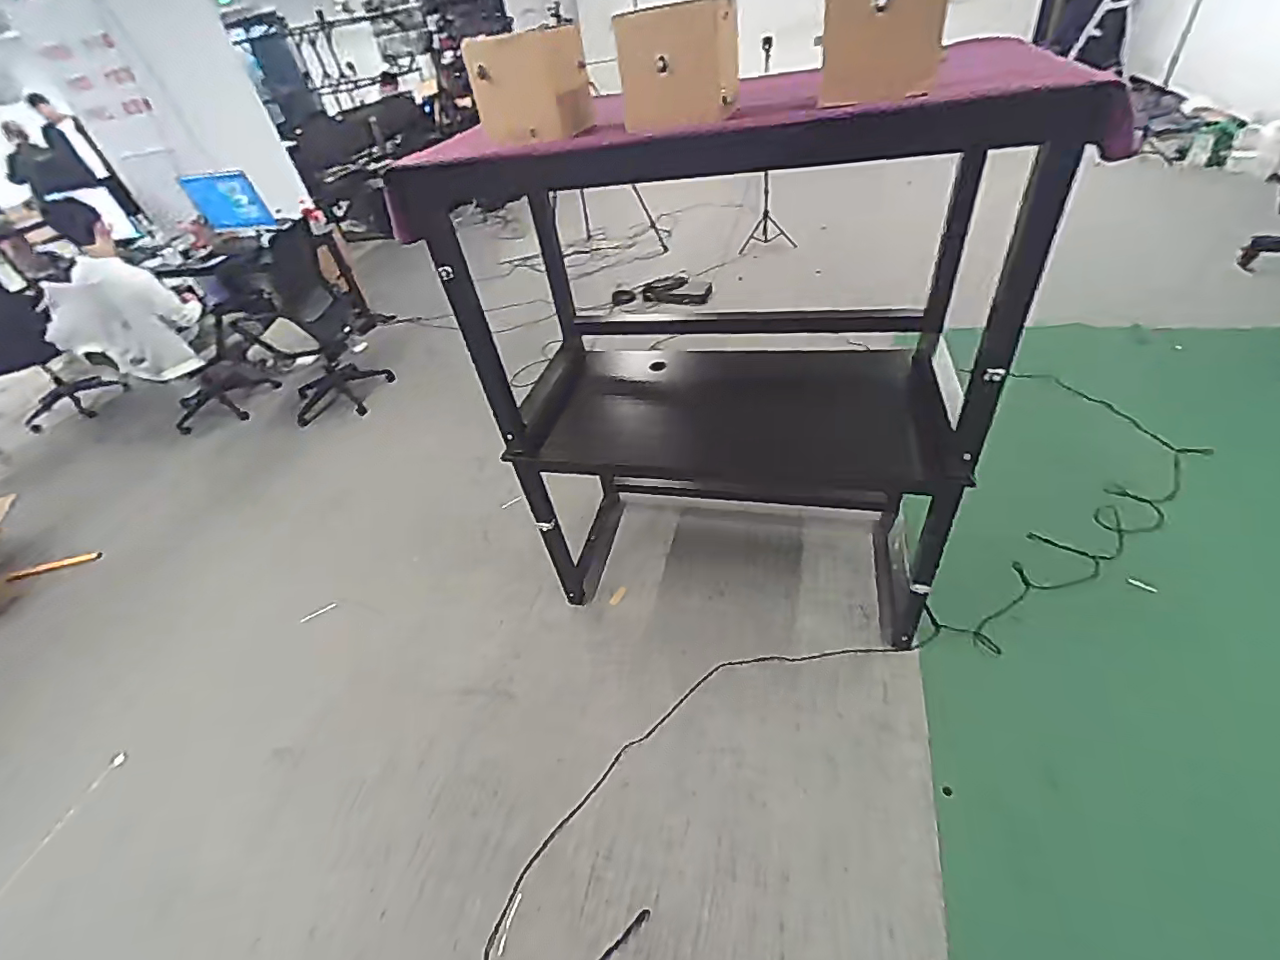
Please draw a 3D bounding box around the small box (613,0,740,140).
[{"bbox_3d":[0.076,-0.726,0.961,0.179,0.176,0.168,6,43,21],"label":"small box"}]

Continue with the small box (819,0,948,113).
[{"bbox_3d":[0.389,-0.714,0.876,0.179,0.176,0.168,6,43,20],"label":"small box"}]
